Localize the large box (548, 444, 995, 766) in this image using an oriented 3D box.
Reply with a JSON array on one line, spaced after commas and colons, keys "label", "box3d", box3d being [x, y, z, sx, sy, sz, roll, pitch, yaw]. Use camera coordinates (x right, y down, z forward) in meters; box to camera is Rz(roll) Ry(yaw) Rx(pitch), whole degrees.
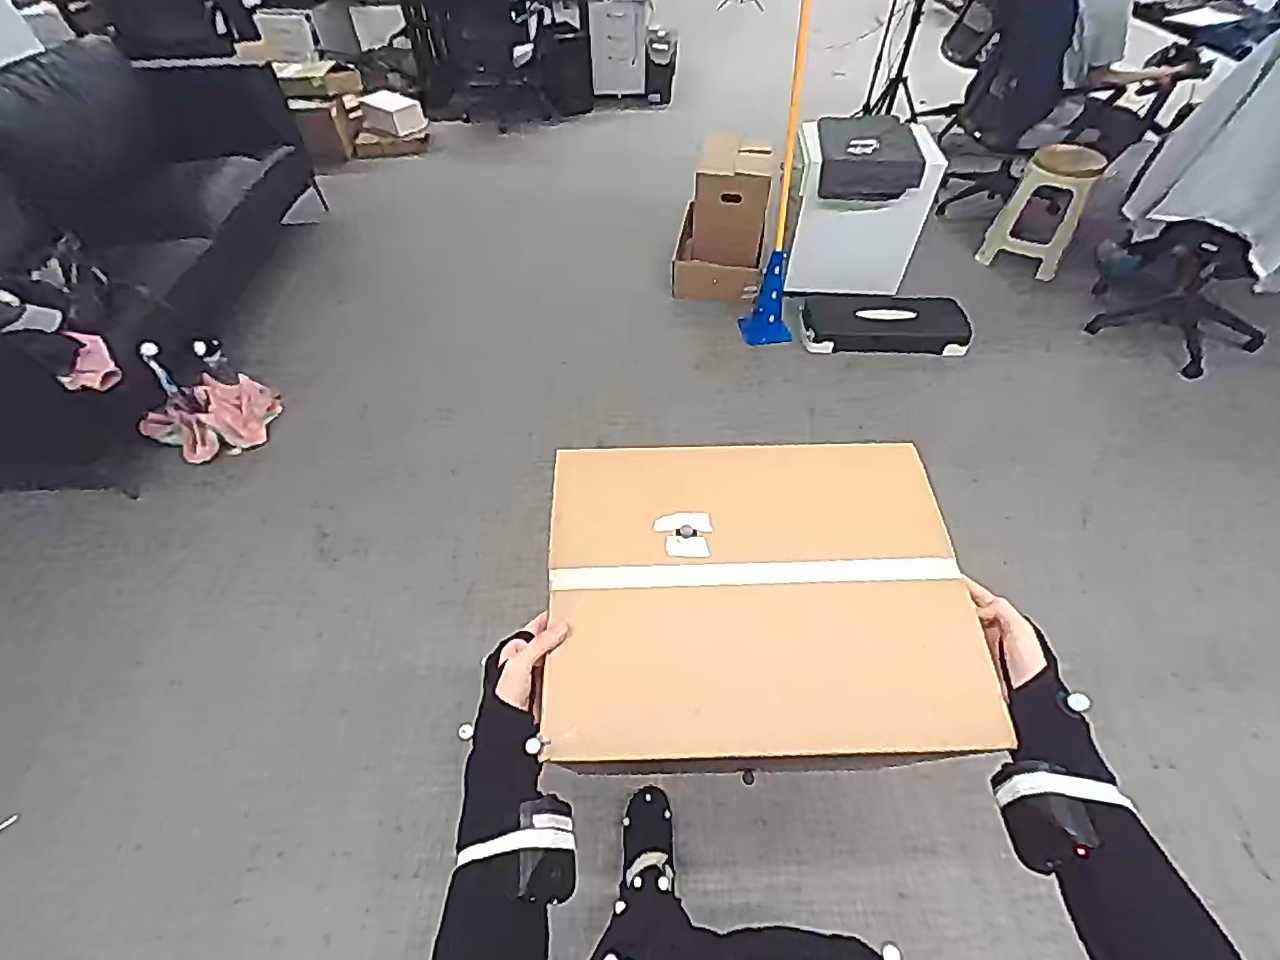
[{"label": "large box", "box3d": [0.116, 0.174, 0.677, 0.408, 0.320, 0.320, -2, 59, 0]}]
